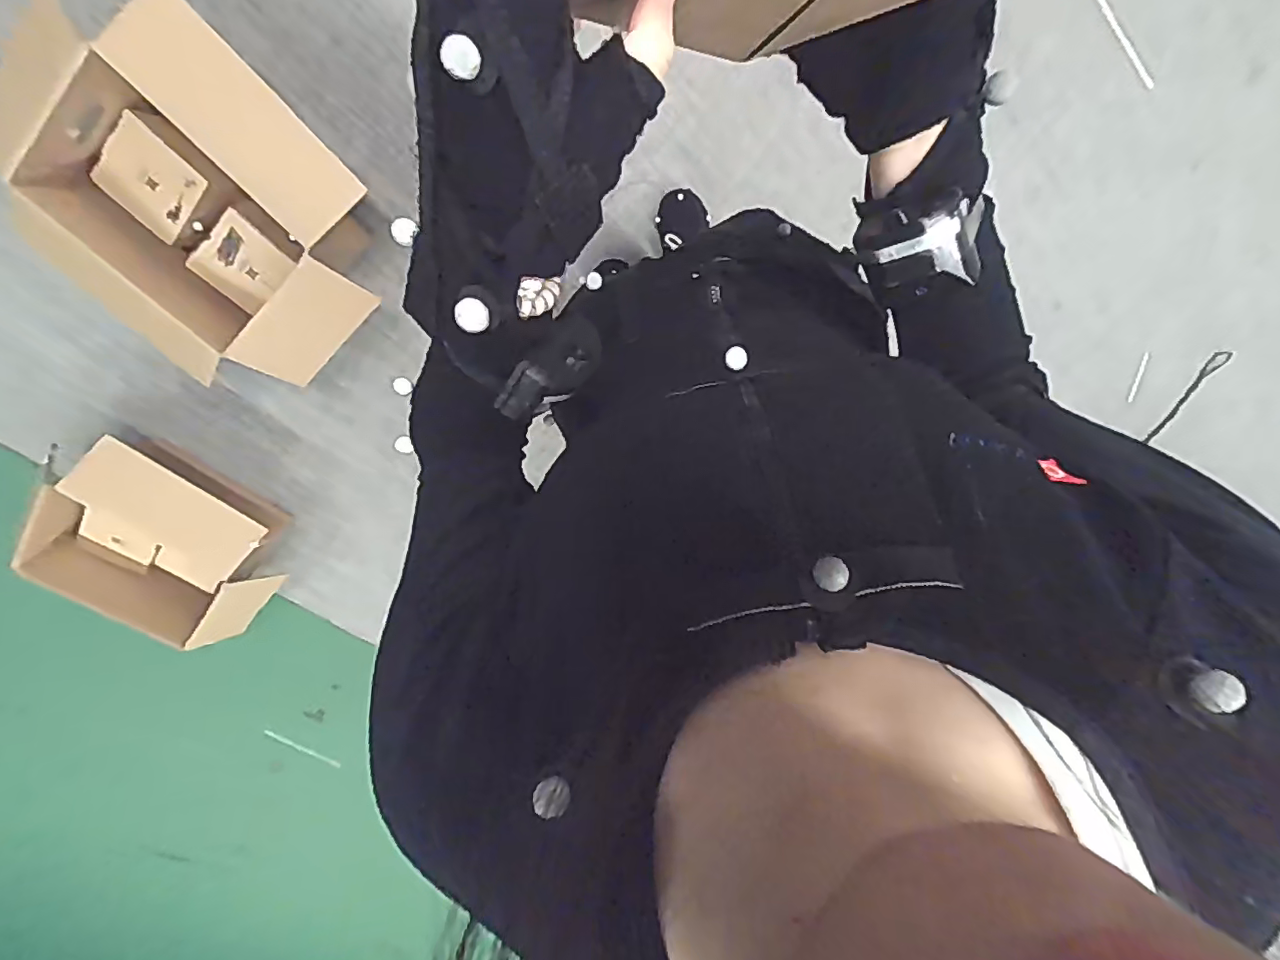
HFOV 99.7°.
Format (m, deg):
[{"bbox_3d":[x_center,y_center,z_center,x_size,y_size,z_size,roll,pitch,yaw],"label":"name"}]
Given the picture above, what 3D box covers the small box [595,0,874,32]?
[{"bbox_3d":[0.057,-0.269,0.164,0.168,0.179,0.176,-26,120,-39],"label":"small box"}]
